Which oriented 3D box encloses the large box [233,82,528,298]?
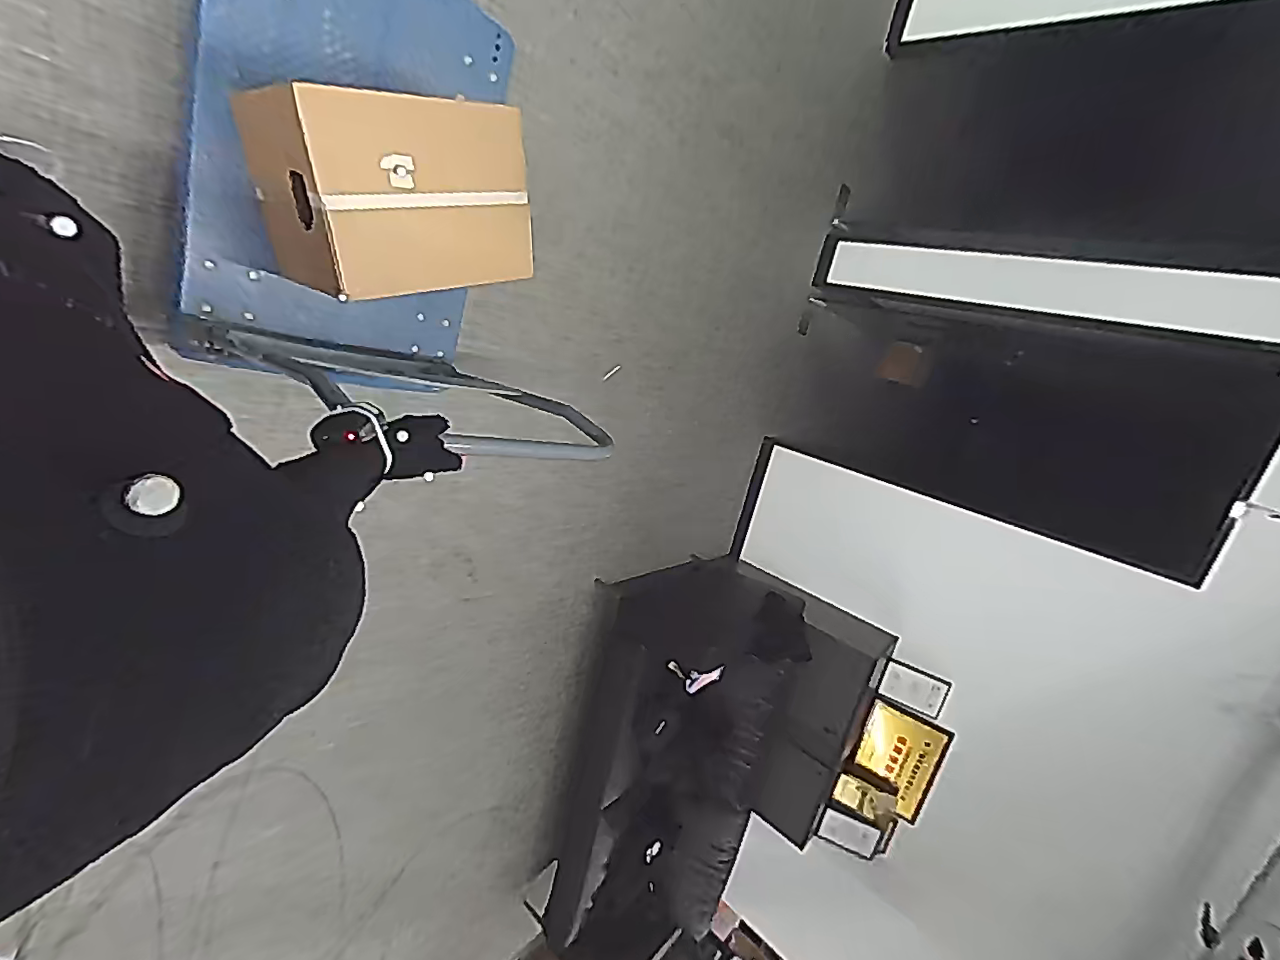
[{"bbox_3d":[-0.484,-0.572,1.069,0.408,0.320,0.320,-27,130,-39],"label":"large box"}]
